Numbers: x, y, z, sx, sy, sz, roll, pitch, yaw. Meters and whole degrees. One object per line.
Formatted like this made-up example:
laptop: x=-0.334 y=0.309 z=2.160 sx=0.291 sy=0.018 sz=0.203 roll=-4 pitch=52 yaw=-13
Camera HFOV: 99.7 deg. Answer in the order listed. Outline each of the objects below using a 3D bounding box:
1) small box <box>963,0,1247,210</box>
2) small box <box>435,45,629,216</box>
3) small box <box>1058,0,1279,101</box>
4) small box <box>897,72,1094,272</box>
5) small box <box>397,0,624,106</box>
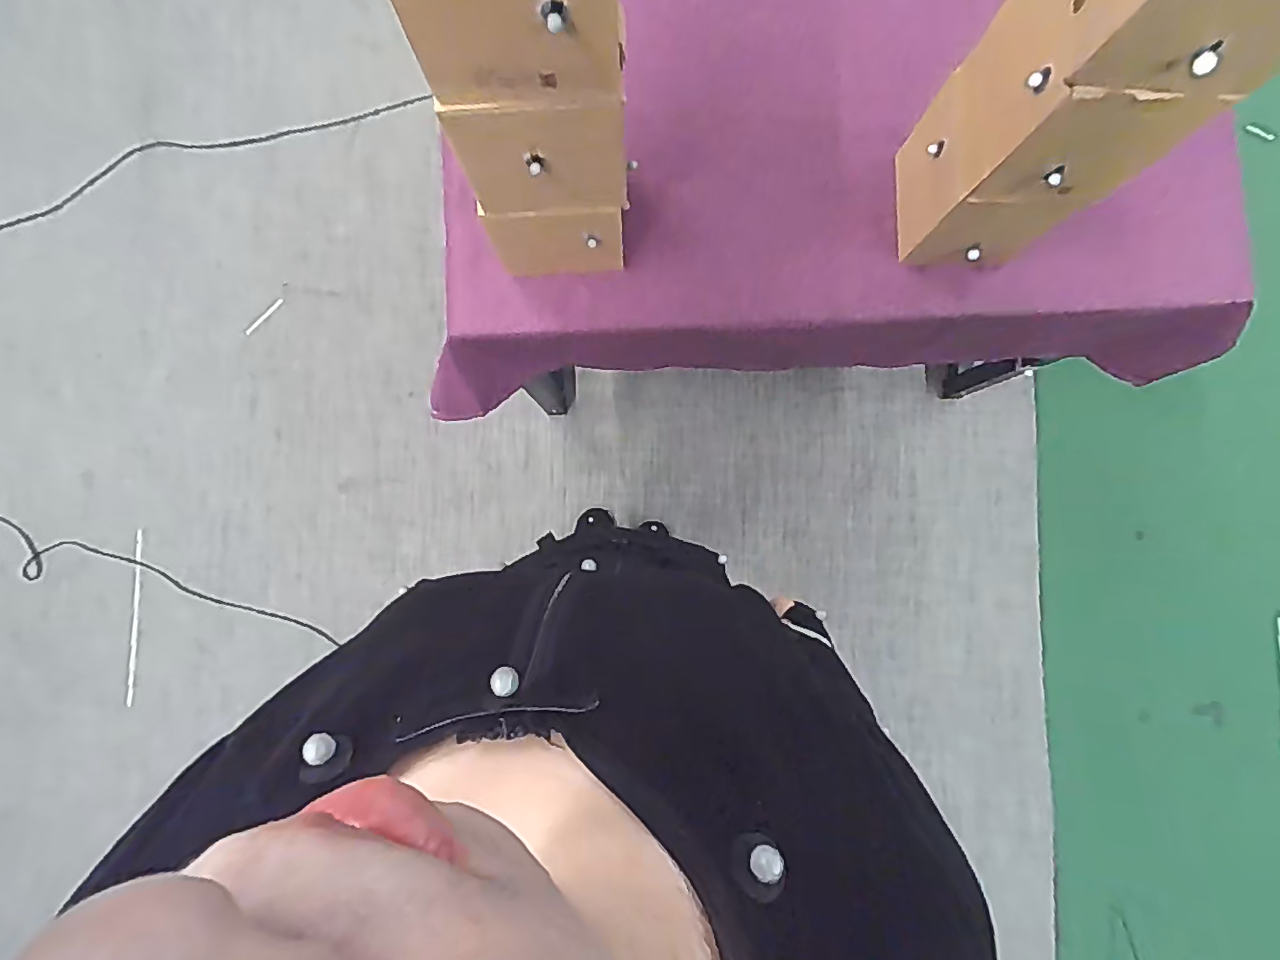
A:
small box: x=0.473 y=-0.421 z=0.578 sx=0.168 sy=0.176 sz=0.179 roll=1 pitch=87 yaw=0
small box: x=-0.104 y=-0.406 z=0.575 sx=0.179 sy=0.176 sz=0.168 roll=-4 pitch=86 yaw=0
small box: x=0.471 y=-0.430 z=0.413 sx=0.179 sy=0.176 sz=0.168 roll=3 pitch=86 yaw=-1
small box: x=0.470 y=-0.409 z=0.740 sx=0.168 sy=0.176 sz=0.179 roll=1 pitch=86 yaw=1
small box: x=-0.096 y=-0.425 z=0.413 sx=0.168 sy=0.176 sz=0.179 roll=0 pitch=85 yaw=-2
